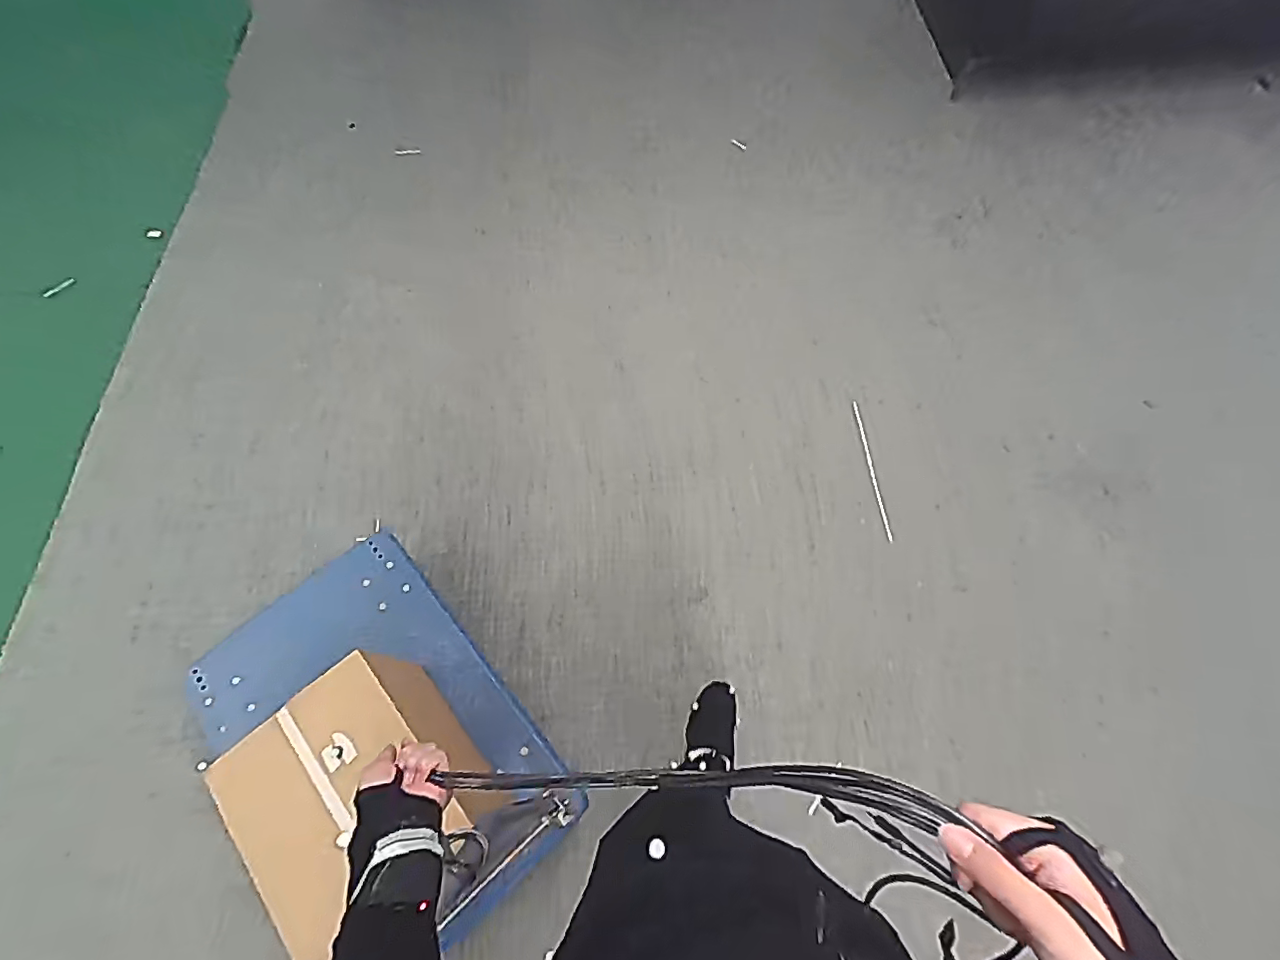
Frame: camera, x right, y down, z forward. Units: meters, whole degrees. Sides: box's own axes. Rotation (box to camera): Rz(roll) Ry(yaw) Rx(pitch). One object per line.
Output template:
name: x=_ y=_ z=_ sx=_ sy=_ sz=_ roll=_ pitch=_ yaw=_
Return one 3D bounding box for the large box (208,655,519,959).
large box: x=-0.504 y=0.614 z=1.051 sx=0.320 sy=0.320 sz=0.408 roll=-40 pitch=70 yaw=-16
